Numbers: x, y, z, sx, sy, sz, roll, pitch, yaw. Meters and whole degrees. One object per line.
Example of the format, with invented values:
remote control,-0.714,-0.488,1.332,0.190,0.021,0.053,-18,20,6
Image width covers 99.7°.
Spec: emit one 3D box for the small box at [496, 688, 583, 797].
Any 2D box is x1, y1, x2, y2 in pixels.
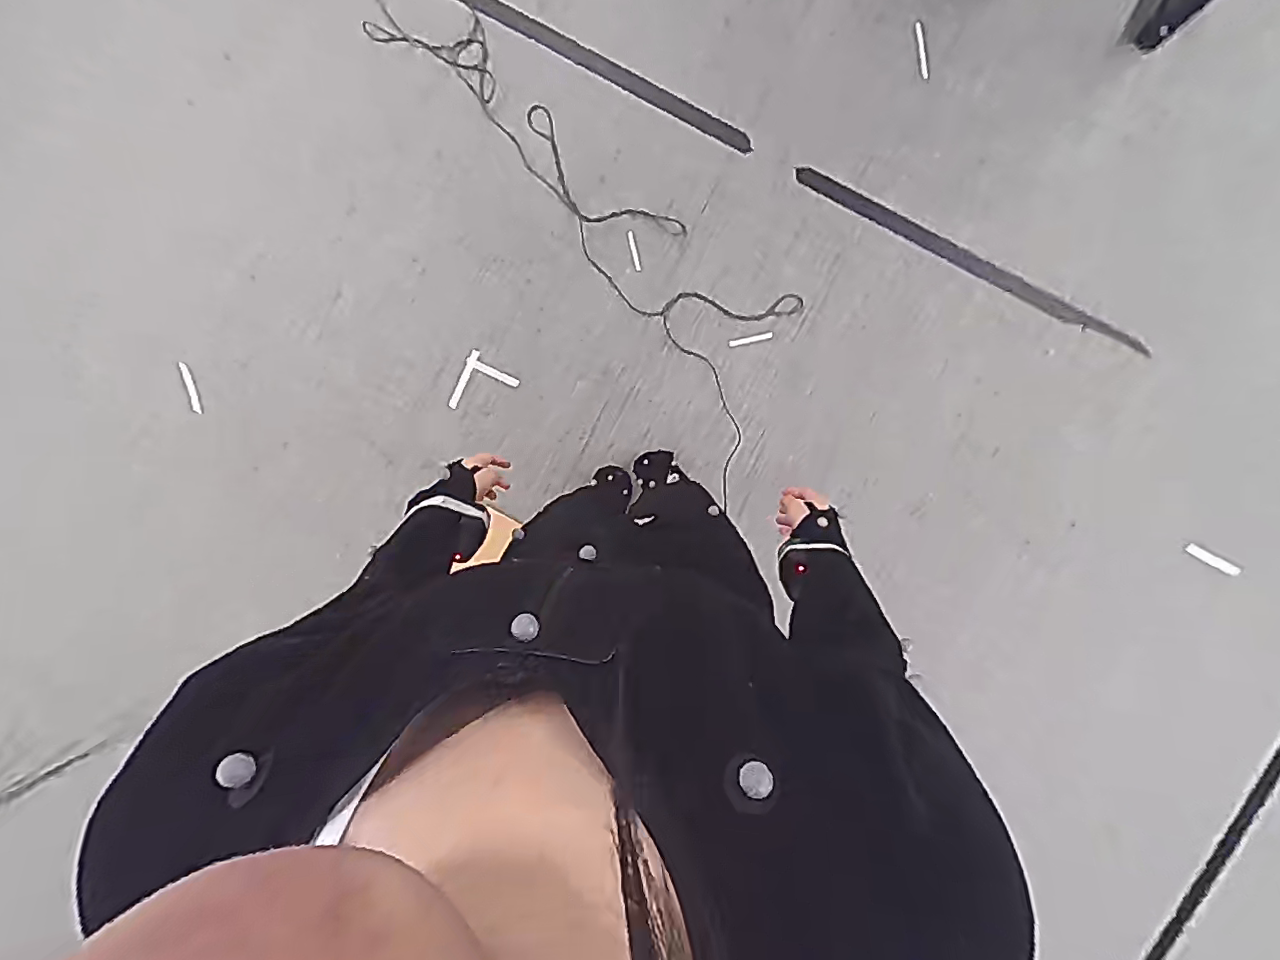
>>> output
small box,-0.258,0.689,1.436,0.168,0.176,0.179,18,93,0
